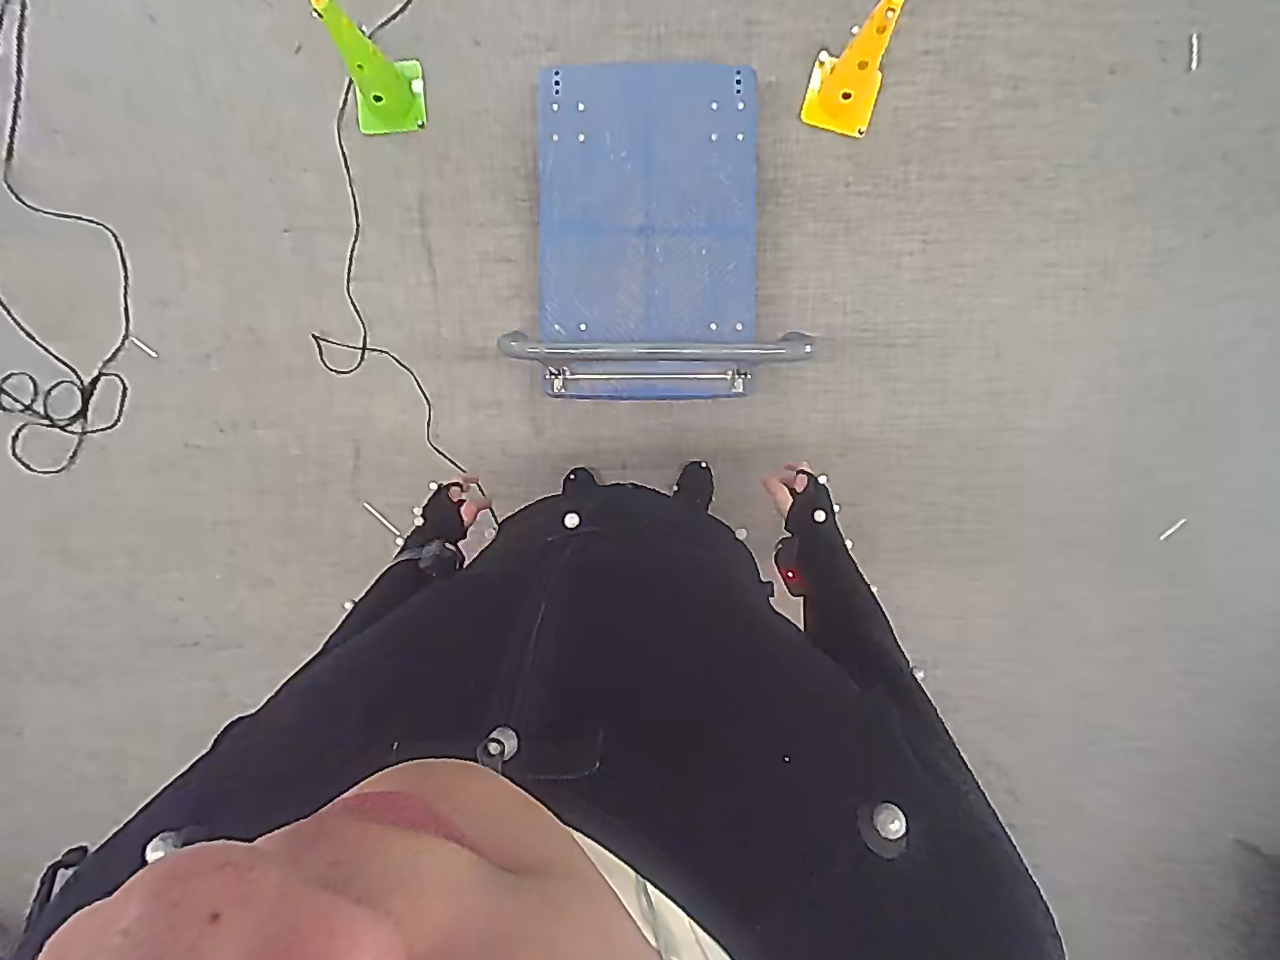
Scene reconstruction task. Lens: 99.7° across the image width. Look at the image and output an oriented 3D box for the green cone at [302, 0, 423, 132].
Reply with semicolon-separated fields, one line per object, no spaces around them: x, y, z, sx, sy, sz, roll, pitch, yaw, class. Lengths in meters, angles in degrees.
-0.751;-1.130;1.419;0.202;0.368;0.200;-5;92;3;green cone
